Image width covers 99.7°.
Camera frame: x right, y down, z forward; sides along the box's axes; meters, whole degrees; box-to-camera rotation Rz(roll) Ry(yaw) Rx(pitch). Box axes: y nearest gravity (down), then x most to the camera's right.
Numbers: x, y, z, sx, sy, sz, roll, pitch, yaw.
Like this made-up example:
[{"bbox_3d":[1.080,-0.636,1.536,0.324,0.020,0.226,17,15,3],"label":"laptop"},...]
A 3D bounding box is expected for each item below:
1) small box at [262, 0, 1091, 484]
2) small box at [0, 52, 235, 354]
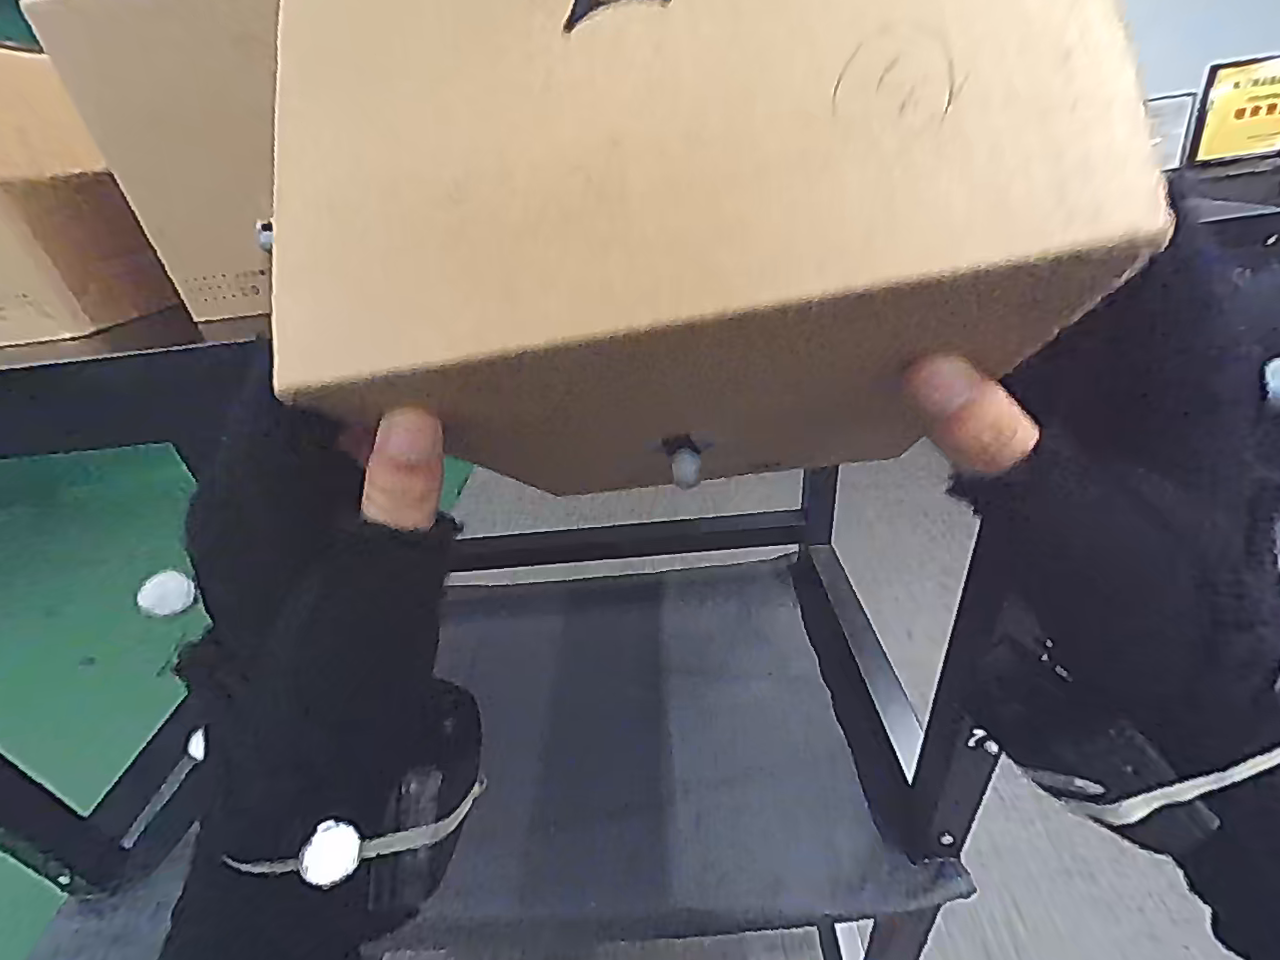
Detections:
[{"bbox_3d":[0.007,-0.098,0.197,0.168,0.179,0.176,-7,-12,11],"label":"small box"},{"bbox_3d":[-0.463,-0.198,0.405,0.168,0.176,0.179,-5,32,5],"label":"small box"}]
